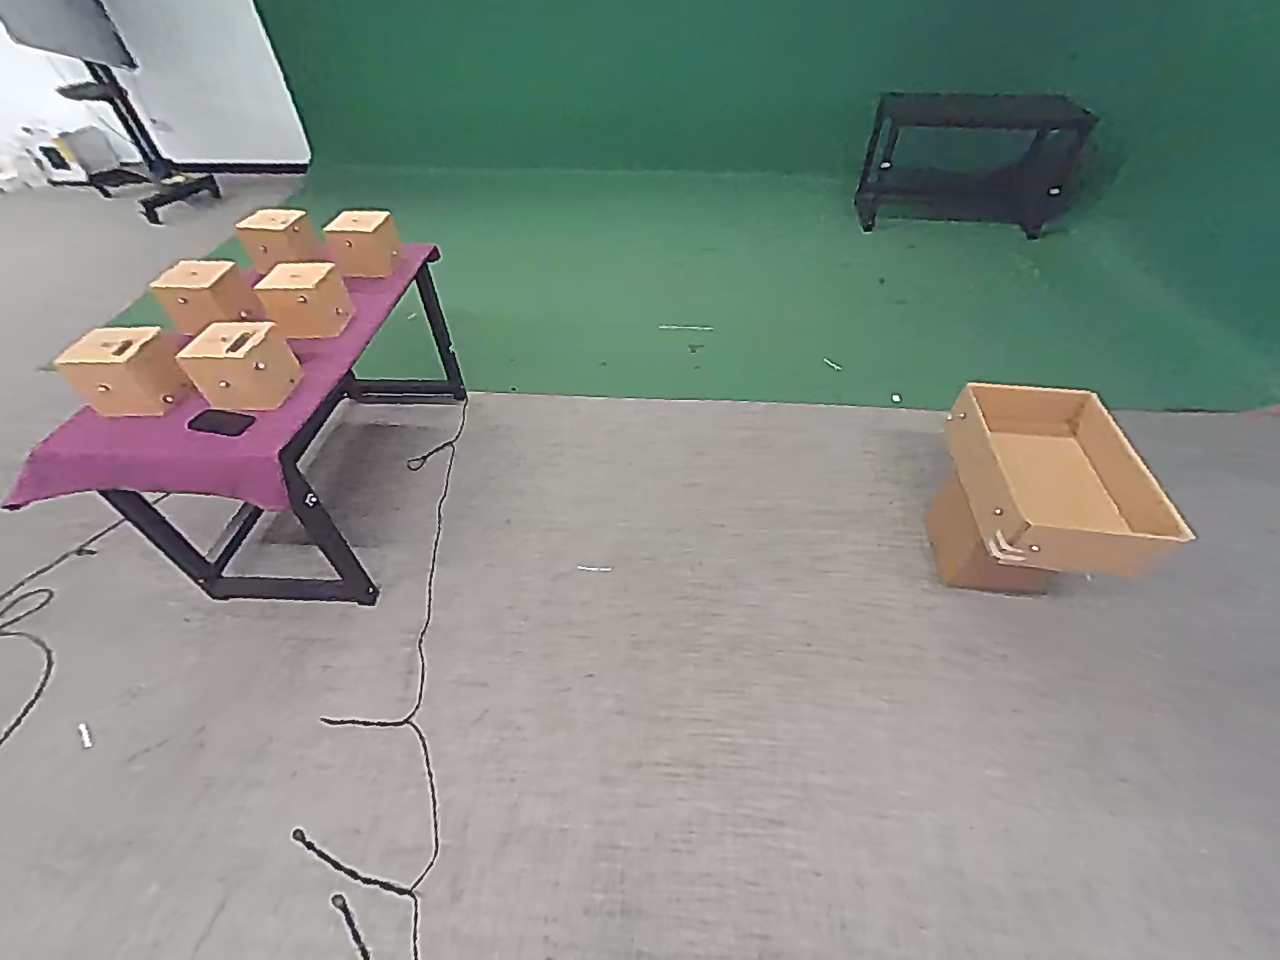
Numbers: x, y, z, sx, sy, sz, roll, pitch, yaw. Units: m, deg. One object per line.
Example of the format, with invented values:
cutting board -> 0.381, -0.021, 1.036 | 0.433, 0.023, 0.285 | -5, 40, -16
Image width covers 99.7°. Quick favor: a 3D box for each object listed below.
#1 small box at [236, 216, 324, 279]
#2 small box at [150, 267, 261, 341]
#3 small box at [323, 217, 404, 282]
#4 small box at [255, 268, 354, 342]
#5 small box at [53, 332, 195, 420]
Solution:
small box -> -1.306, -0.846, 1.975 | 0.179, 0.176, 0.168 | 3, 47, 5
small box -> -1.349, -0.551, 1.693 | 0.179, 0.176, 0.168 | 2, 47, 1
small box -> -0.989, -0.831, 1.951 | 0.179, 0.176, 0.168 | 3, 48, 4
small box -> -1.031, -0.541, 1.678 | 0.179, 0.176, 0.168 | 0, 46, 1
small box -> -1.338, -0.272, 1.421 | 0.179, 0.176, 0.168 | -2, 46, 0
